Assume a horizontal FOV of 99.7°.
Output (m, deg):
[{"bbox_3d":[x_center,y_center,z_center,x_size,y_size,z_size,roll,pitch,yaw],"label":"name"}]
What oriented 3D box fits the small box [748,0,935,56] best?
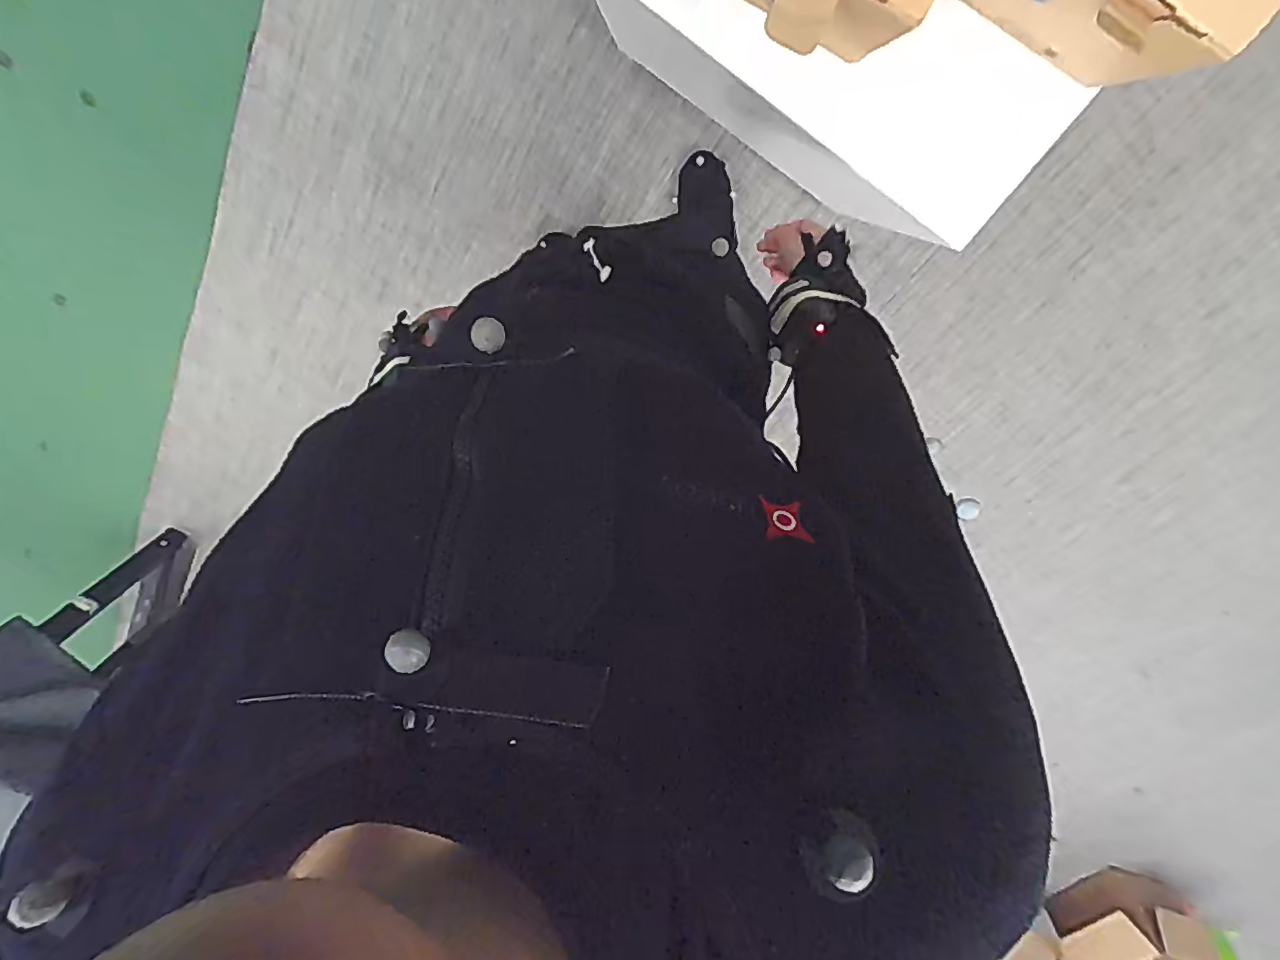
[{"bbox_3d":[0.166,-0.465,0.404,0.168,0.176,0.179,22,119,-10],"label":"small box"}]
